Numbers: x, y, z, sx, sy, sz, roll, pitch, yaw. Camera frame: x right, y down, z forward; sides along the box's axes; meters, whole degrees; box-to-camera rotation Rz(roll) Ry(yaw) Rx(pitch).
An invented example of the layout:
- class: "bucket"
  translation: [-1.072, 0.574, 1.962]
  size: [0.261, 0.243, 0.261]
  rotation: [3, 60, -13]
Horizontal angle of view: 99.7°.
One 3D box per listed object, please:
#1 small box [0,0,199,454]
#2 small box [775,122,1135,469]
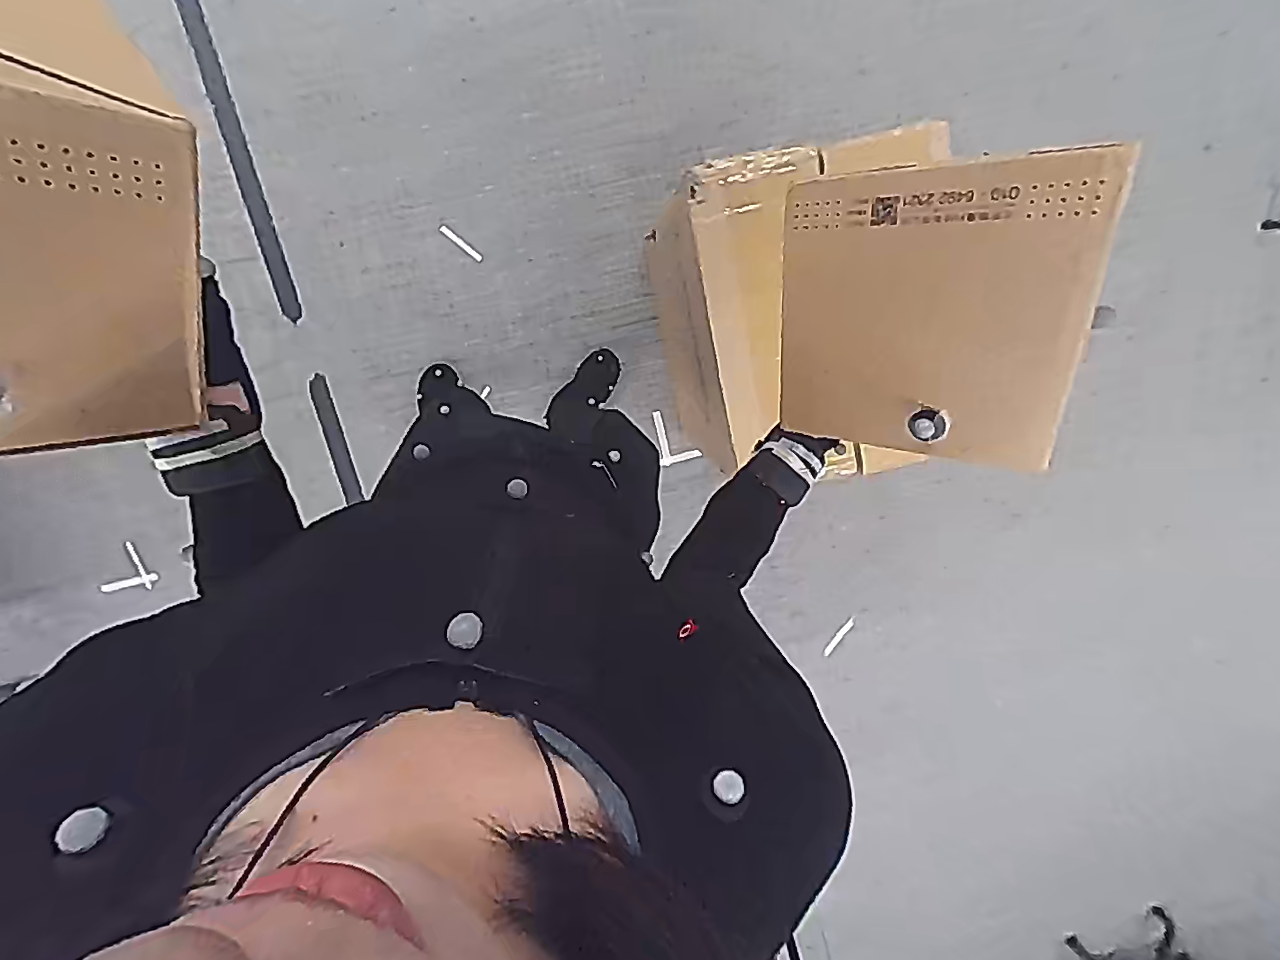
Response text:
- class: "small box"
  translation: [-0.322, -0.123, 0.225]
  size: [0.168, 0.179, 0.176]
  rotation: [47, 128, 22]
- class: "small box"
  translation: [0.205, -0.133, 0.367]
  size: [0.179, 0.168, 0.176]
  rotation: [-36, 129, -40]
